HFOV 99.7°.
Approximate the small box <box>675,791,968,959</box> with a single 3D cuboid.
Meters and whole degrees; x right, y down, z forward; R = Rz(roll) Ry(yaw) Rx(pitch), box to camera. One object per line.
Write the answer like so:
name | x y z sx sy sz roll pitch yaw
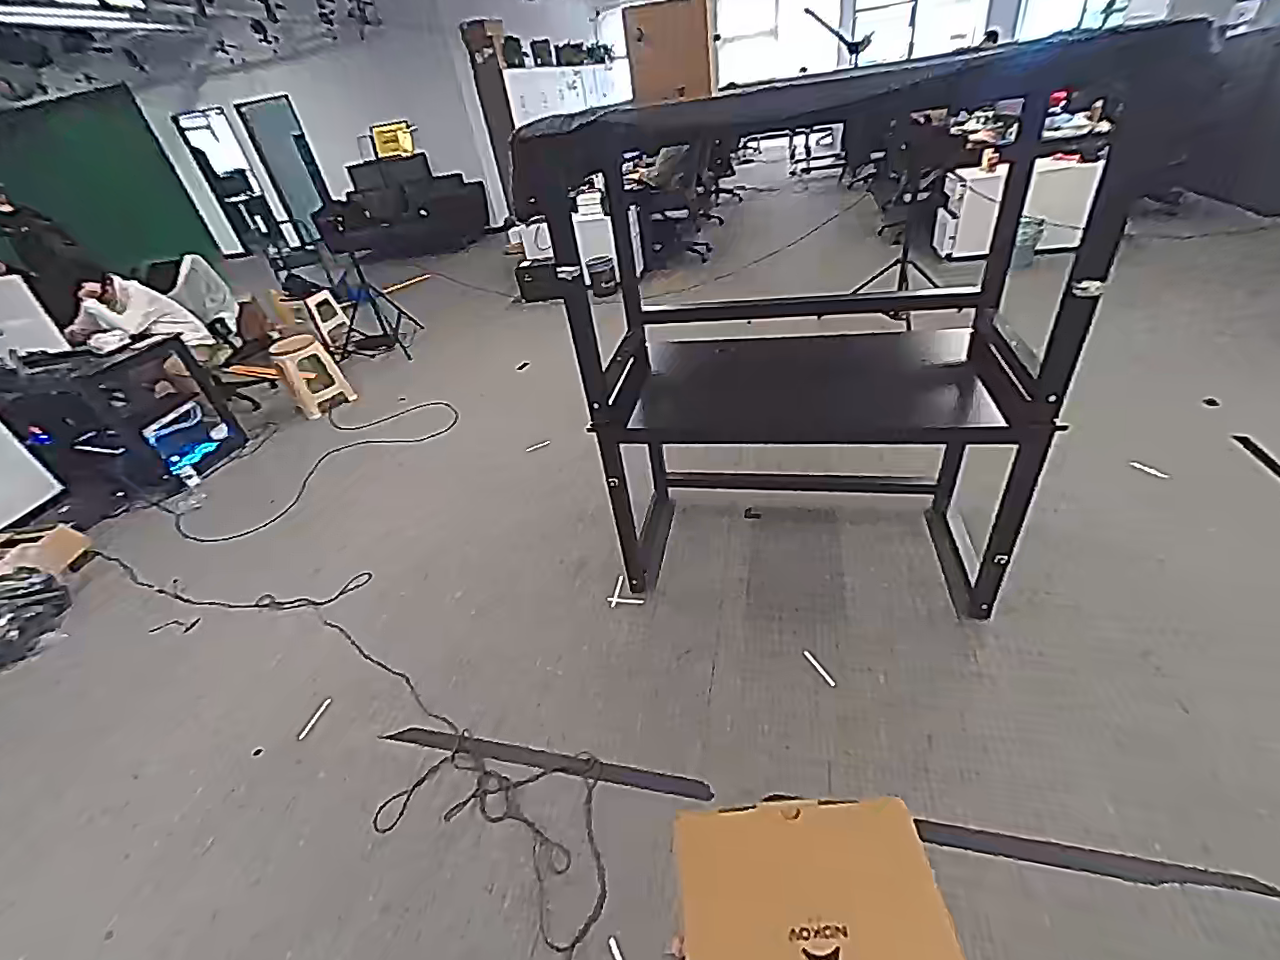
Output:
small box | 0.116 0.346 0.370 0.168 0.176 0.179 -5 37 0
